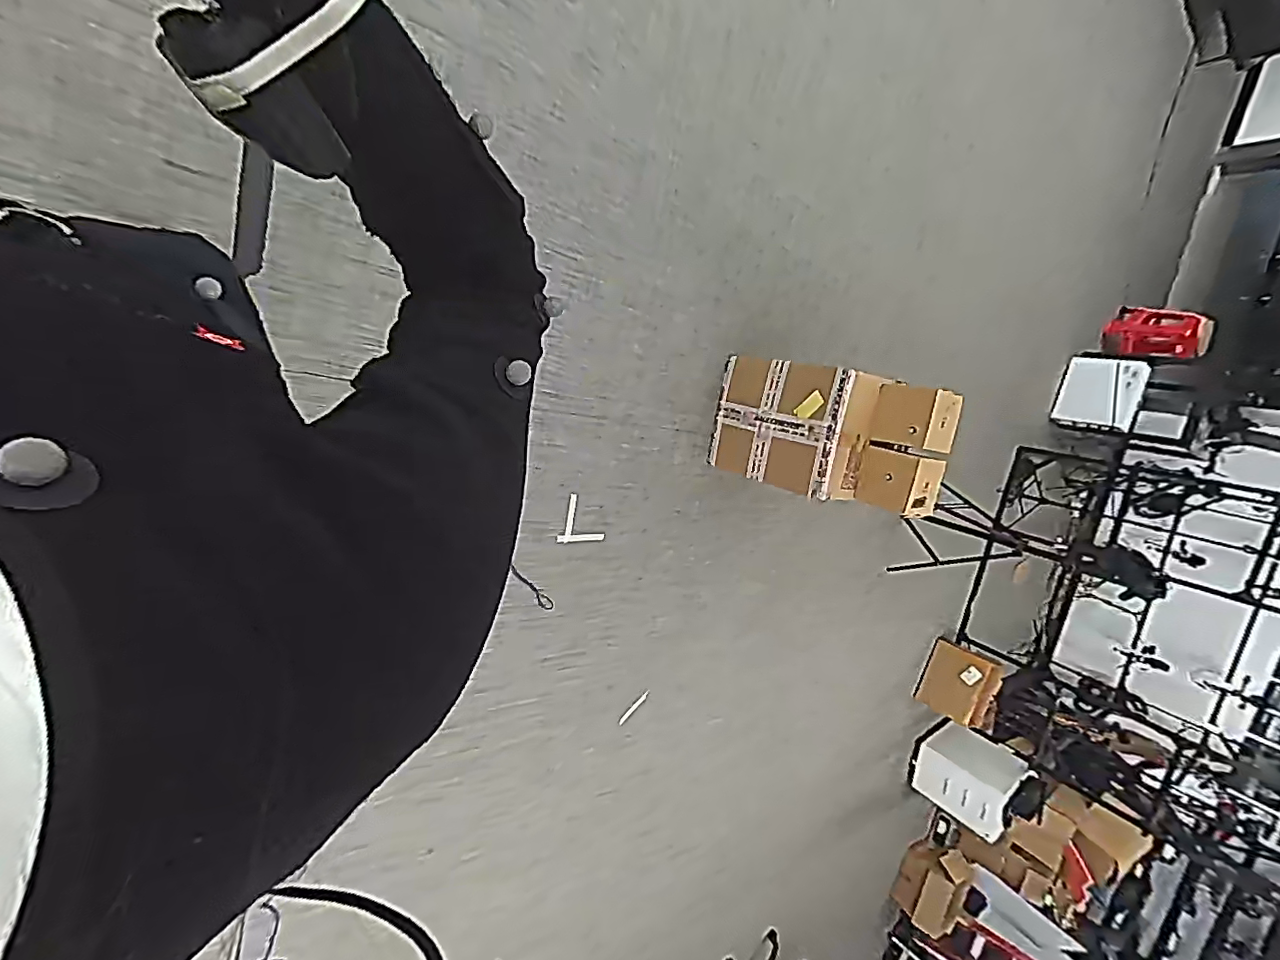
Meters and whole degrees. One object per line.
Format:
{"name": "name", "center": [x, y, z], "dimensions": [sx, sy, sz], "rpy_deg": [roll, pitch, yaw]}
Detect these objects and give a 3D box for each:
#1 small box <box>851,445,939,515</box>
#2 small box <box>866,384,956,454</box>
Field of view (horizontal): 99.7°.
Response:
{"name": "small box", "center": [0.779, 0.000, 1.667], "dimensions": [0.168, 0.176, 0.179], "rpy_deg": [4, 103, -37]}
{"name": "small box", "center": [0.812, -0.185, 1.631], "dimensions": [0.168, 0.176, 0.179], "rpy_deg": [5, 99, -38]}
